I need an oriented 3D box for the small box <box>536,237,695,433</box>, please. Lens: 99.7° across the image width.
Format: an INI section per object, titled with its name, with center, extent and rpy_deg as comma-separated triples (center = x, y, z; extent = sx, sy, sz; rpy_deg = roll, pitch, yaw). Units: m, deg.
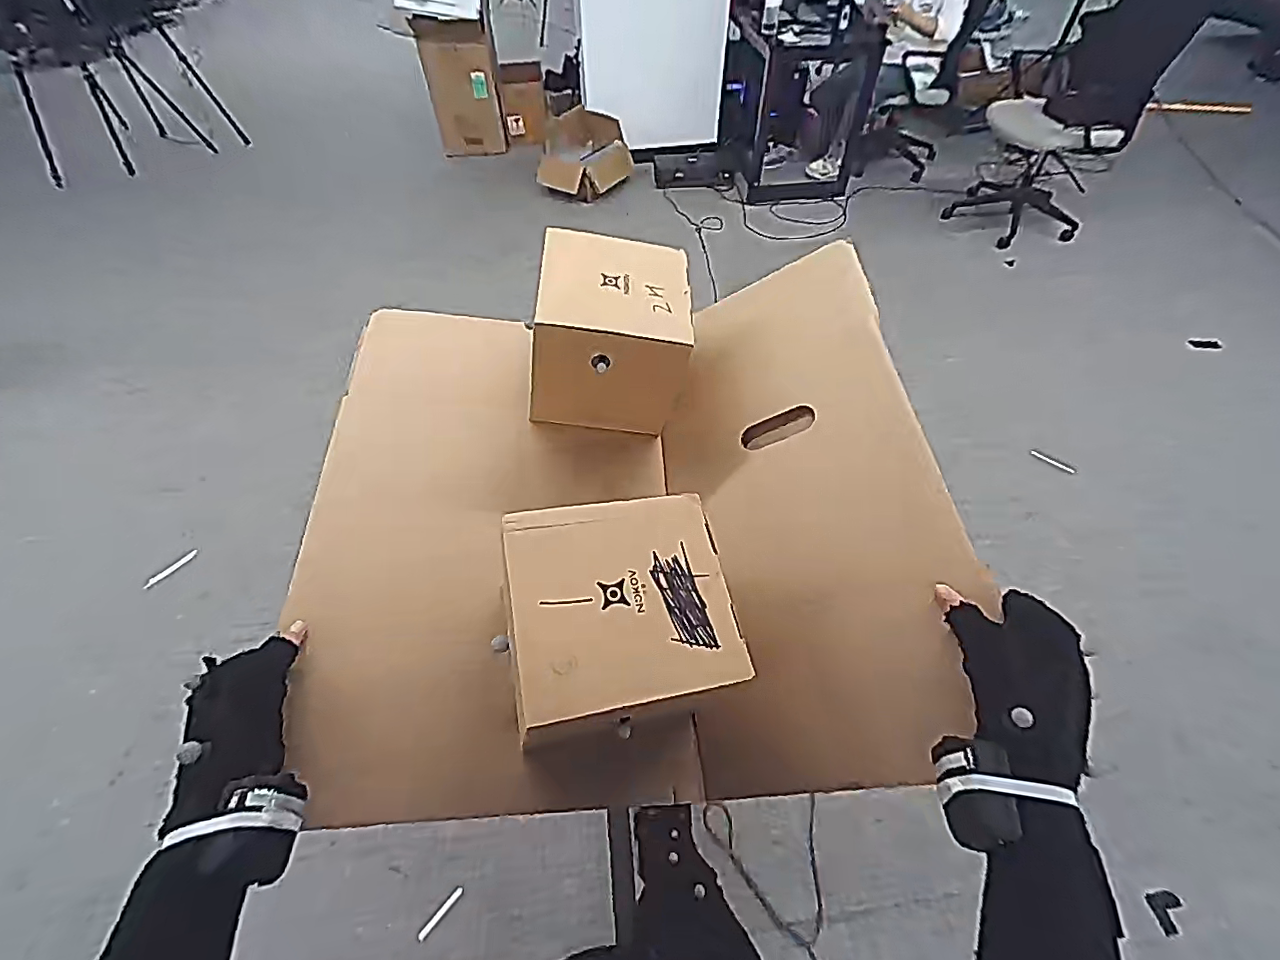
[small box]
center = -0.037, -0.177, 0.697
extent = 0.179, 0.176, 0.168
rpy_deg = 7, 58, -10
